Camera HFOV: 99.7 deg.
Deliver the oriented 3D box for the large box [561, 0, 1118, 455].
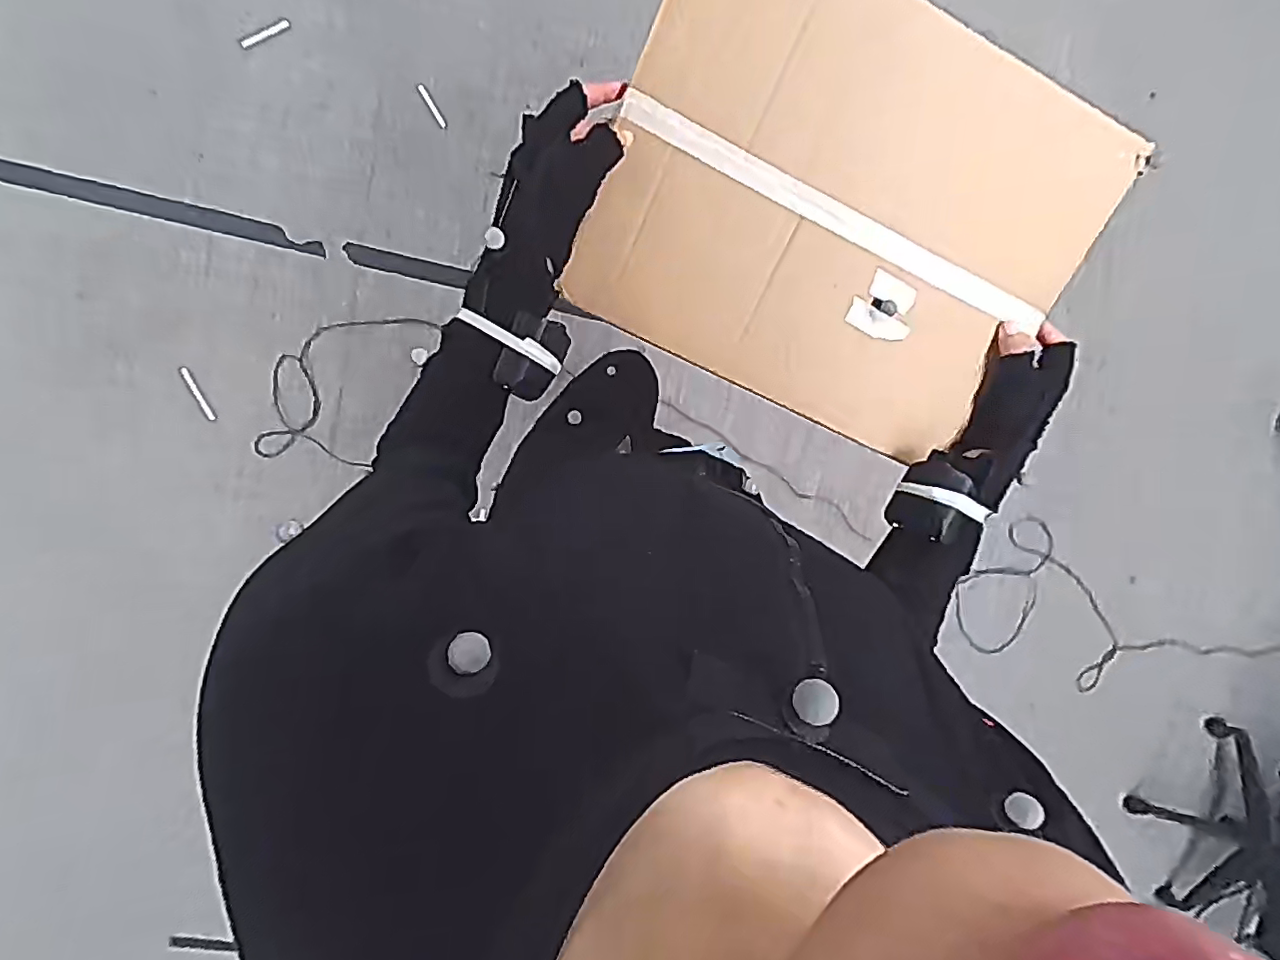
[{"bbox_3d":[0.161,-0.275,0.612,0.408,0.320,0.320,23,107,-10],"label":"large box"}]
